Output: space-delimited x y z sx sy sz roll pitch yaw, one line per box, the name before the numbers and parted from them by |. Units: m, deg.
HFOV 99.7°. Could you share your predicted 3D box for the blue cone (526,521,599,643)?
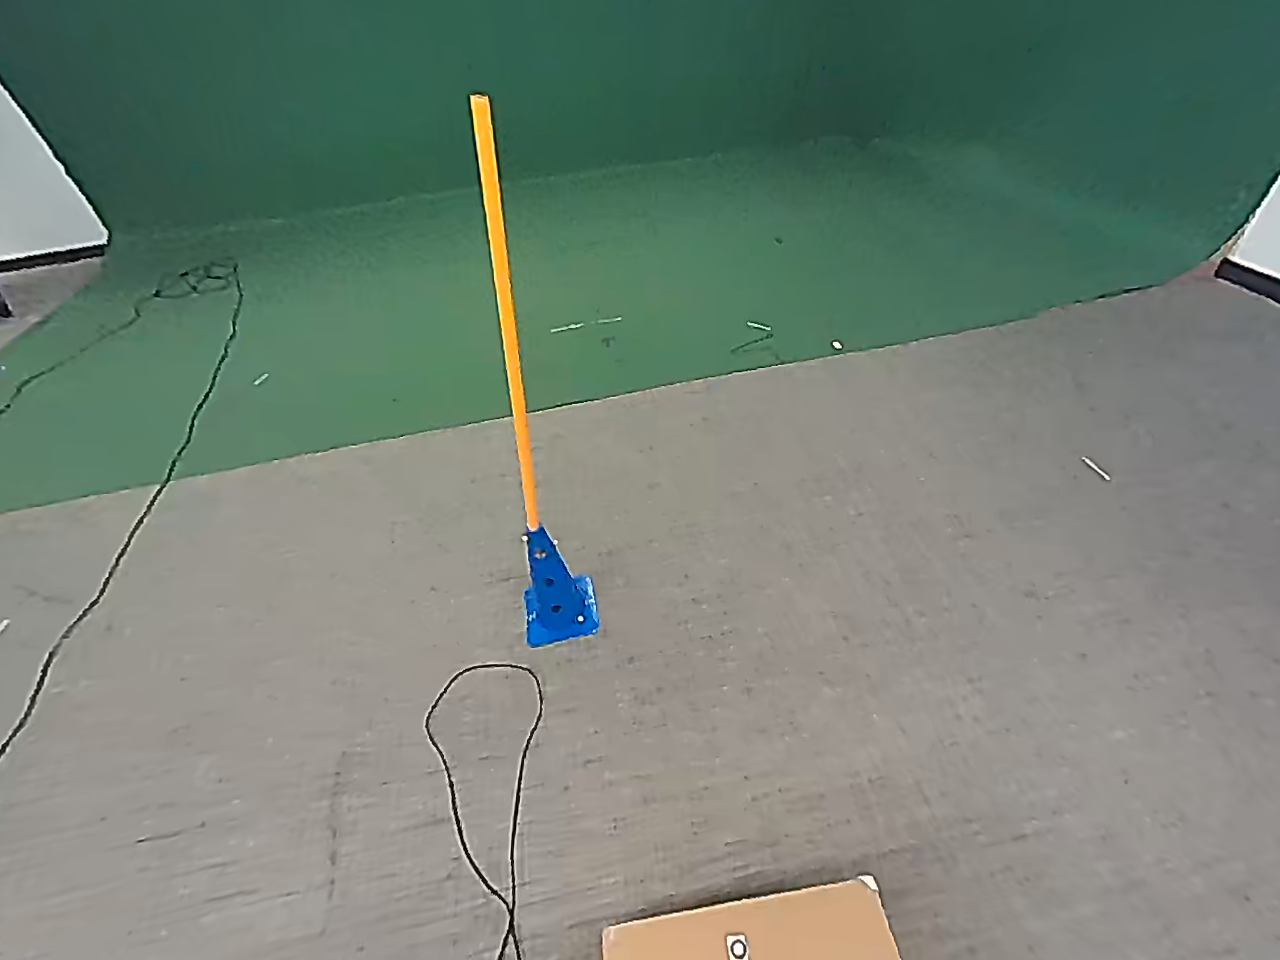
blue cone | -0.232 0.236 1.395 0.193 0.380 0.192 -12 44 -8
